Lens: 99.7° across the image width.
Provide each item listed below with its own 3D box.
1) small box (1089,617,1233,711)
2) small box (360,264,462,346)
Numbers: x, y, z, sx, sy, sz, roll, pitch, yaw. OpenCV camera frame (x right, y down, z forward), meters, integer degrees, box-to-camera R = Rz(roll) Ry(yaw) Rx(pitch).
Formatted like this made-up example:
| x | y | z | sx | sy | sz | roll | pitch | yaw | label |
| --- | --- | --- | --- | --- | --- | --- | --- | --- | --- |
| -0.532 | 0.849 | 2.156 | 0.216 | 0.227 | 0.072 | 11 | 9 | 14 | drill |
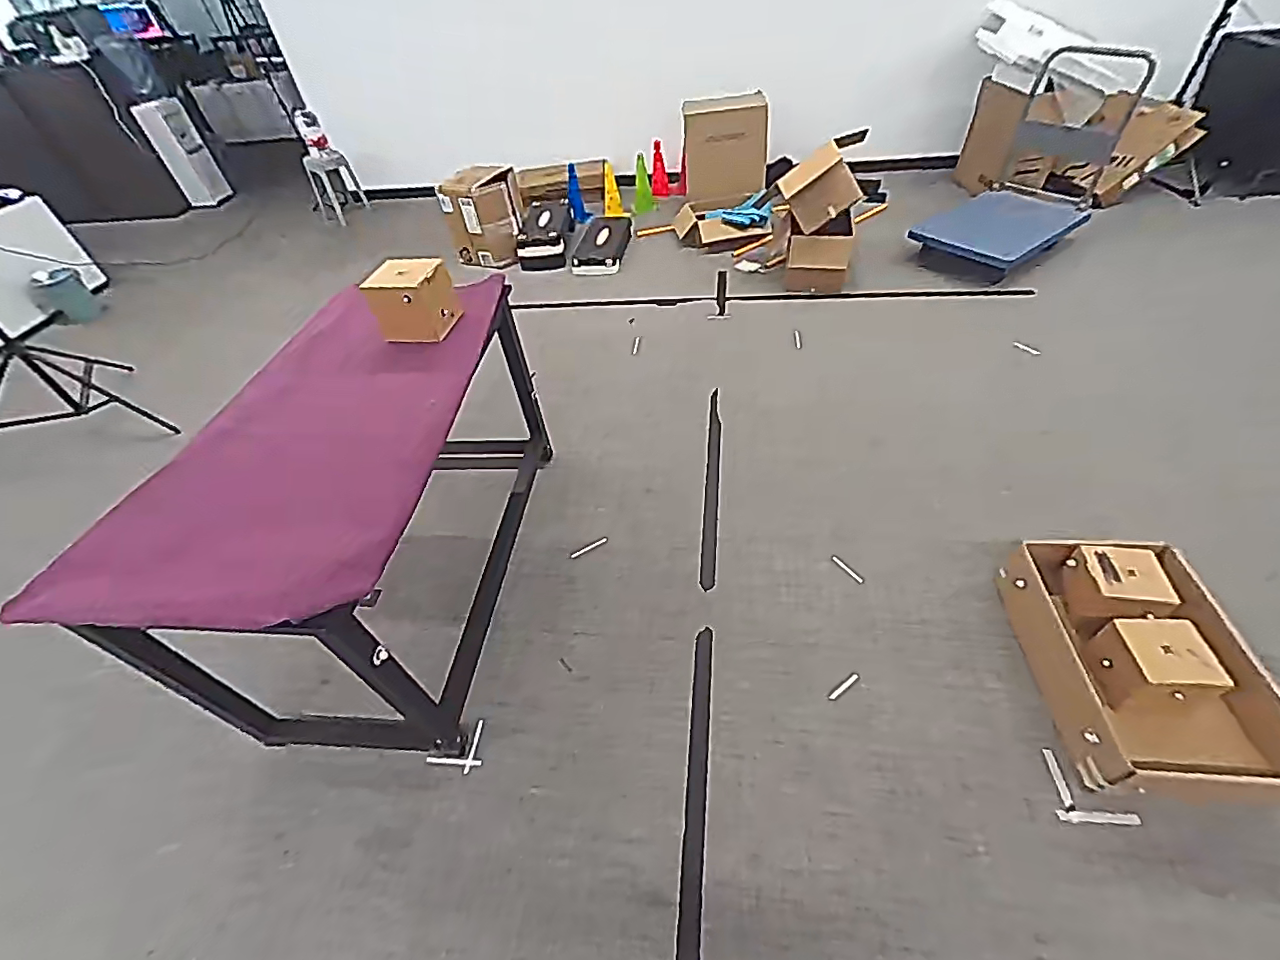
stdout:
| x | y | z | sx | sy | sz | roll | pitch | yaw | label |
| --- | --- | --- | --- | --- | --- | --- | --- | --- | --- |
| 1.259 | 0.454 | 1.331 | 0.179 | 0.176 | 0.168 | -1 | 46 | 7 | small box |
| -0.638 | -0.491 | 1.527 | 0.179 | 0.176 | 0.168 | 3 | 47 | 12 | small box |
